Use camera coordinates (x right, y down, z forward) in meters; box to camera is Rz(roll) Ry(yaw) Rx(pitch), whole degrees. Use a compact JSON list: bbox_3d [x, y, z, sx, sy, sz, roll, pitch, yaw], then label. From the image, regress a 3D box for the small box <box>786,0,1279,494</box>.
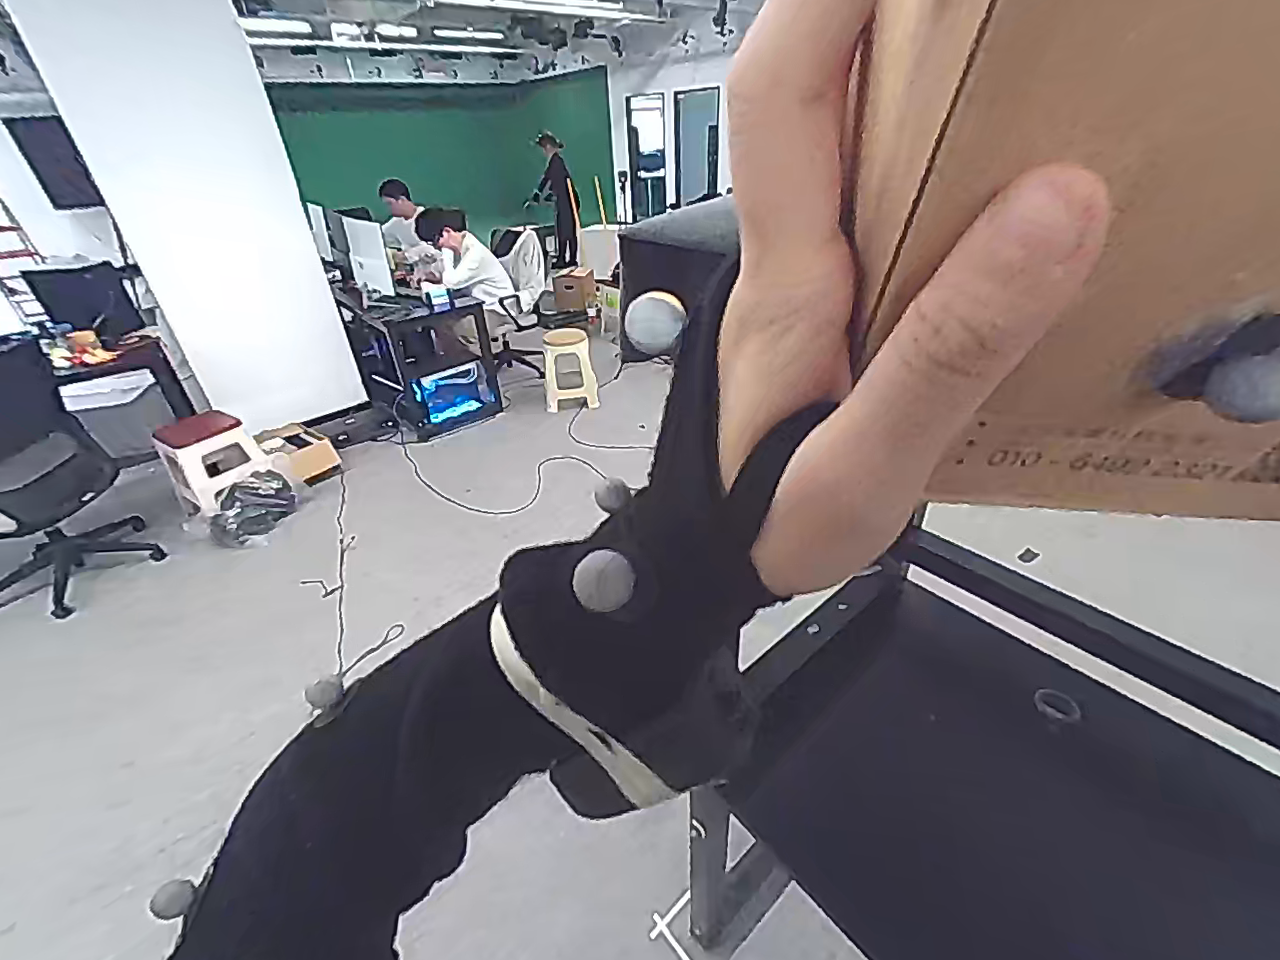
[{"bbox_3d":[0.133,-0.115,0.121,0.168,0.176,0.179,3,57,5],"label":"small box"}]
